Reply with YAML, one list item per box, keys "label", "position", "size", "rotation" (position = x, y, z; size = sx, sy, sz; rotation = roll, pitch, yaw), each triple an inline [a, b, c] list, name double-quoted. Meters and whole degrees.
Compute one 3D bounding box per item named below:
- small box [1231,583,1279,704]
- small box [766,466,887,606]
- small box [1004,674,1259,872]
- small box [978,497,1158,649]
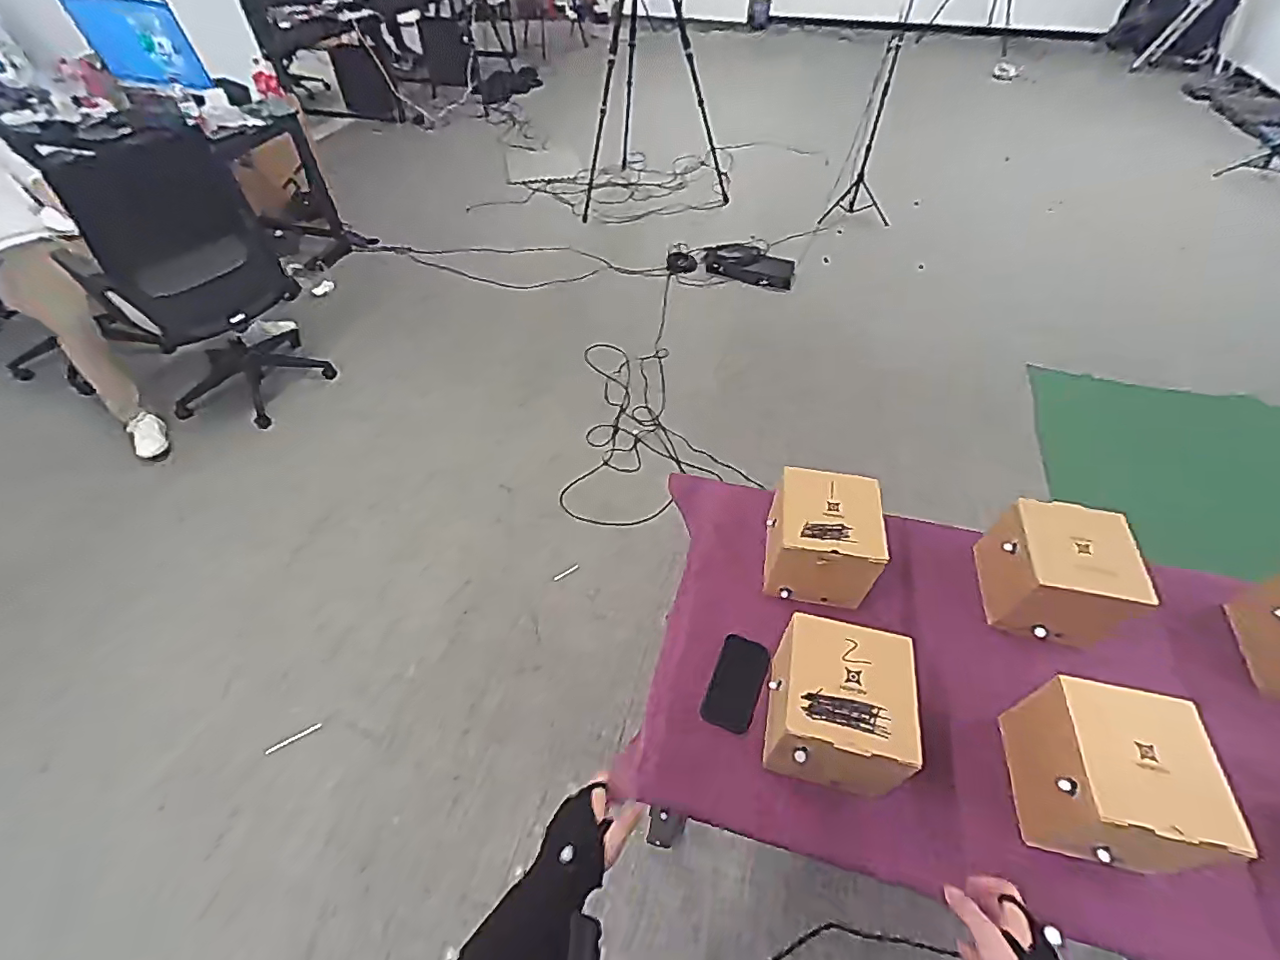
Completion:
- label: "small box"
  position: [1.096, 0.255, 0.837]
  size: [0.168, 0.176, 0.179]
  rotation: [13, 50, 12]
- label: "small box"
  position: [0.323, 0.103, 0.965]
  size: [0.168, 0.176, 0.179]
  rotation: [9, 49, 7]
- label: "small box"
  position: [0.622, 0.391, 0.721]
  size: [0.168, 0.176, 0.179]
  rotation: [10, 50, 8]
- label: "small box"
  position: [0.705, 0.159, 0.920]
  size: [0.168, 0.176, 0.179]
  rotation: [11, 51, 10]
